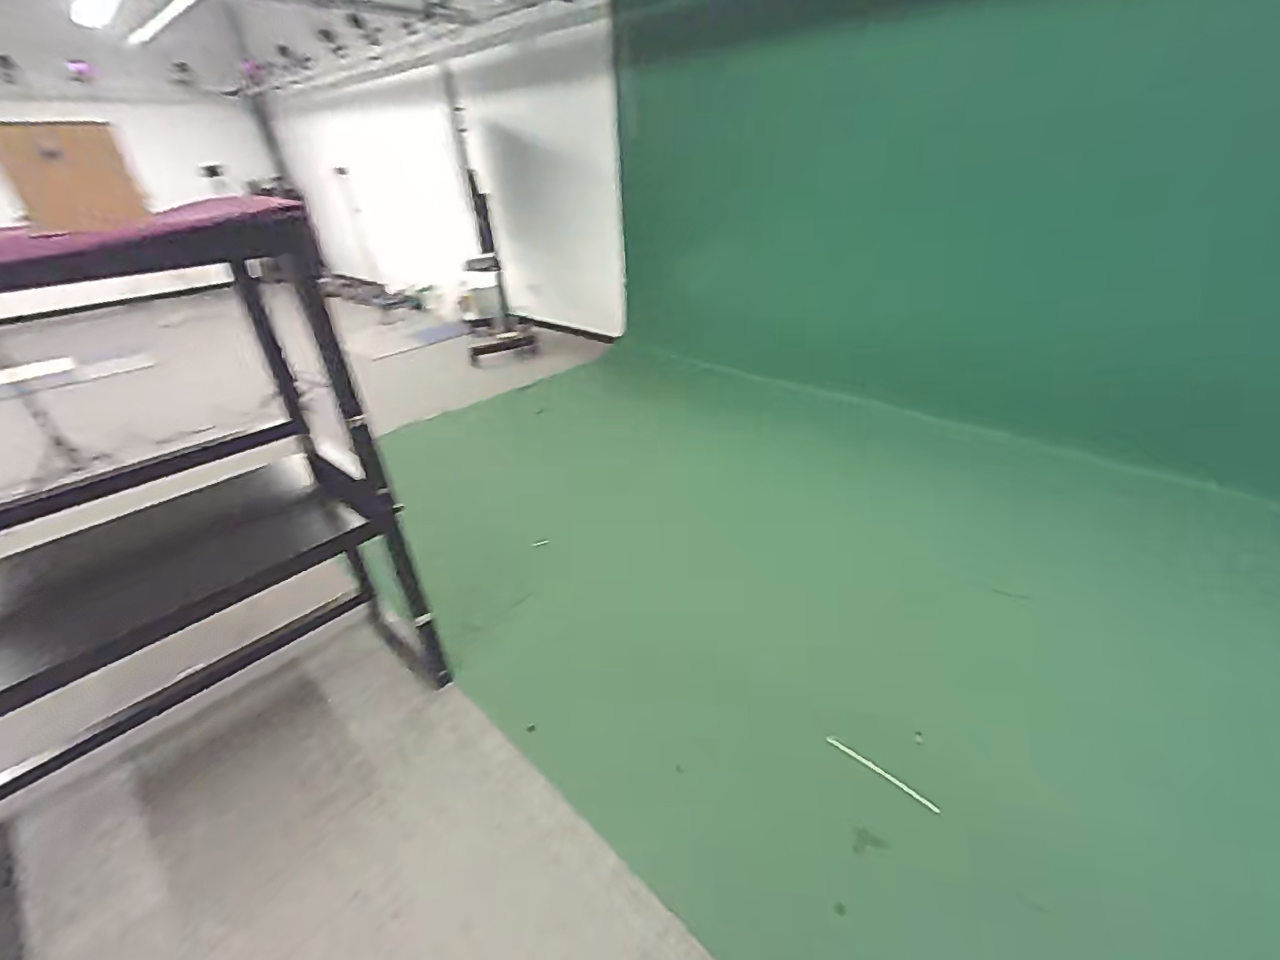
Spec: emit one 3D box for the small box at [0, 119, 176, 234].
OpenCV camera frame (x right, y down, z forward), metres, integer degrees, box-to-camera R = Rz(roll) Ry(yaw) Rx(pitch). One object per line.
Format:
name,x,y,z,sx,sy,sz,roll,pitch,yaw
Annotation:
small box,-1.016,-0.556,1.003,0.168,0.176,0.179,23,39,39
